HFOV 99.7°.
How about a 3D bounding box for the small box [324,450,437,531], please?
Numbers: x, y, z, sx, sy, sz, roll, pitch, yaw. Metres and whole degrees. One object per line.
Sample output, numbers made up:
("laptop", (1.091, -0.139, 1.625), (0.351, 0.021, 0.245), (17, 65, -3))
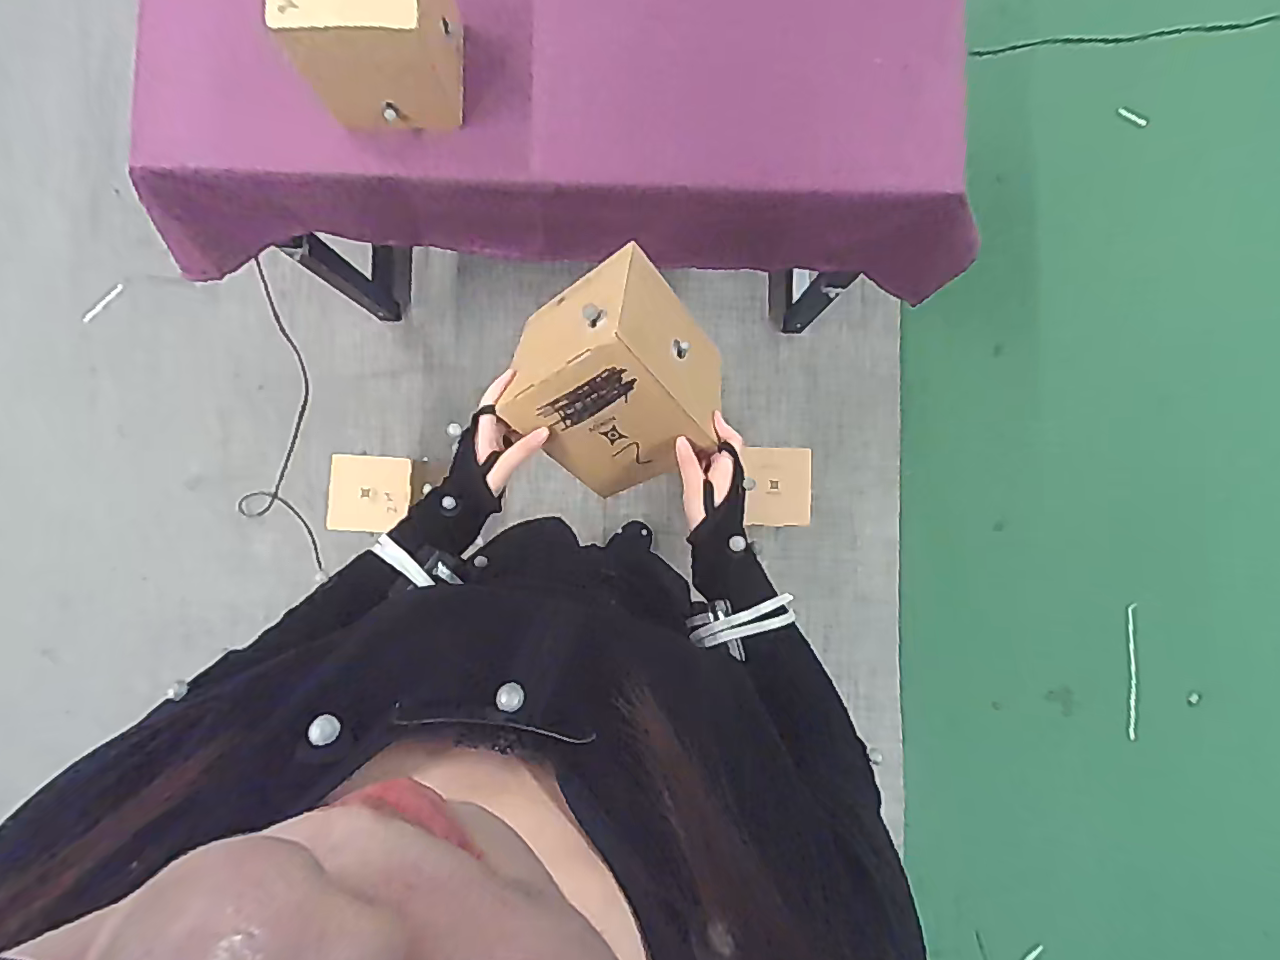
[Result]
("small box", (-0.587, 0.025, 1.242), (0.179, 0.176, 0.168), (4, 89, -2))

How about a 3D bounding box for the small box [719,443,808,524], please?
("small box", (0.284, 0.010, 1.270), (0.168, 0.176, 0.179), (2, 88, -3))

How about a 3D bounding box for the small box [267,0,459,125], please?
("small box", (-0.342, -0.593, 0.700), (0.179, 0.176, 0.168), (0, 88, -2))

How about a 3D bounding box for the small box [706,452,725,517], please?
("small box", (0.270, 0.015, 1.432), (0.179, 0.176, 0.168), (-1, 89, -2))
